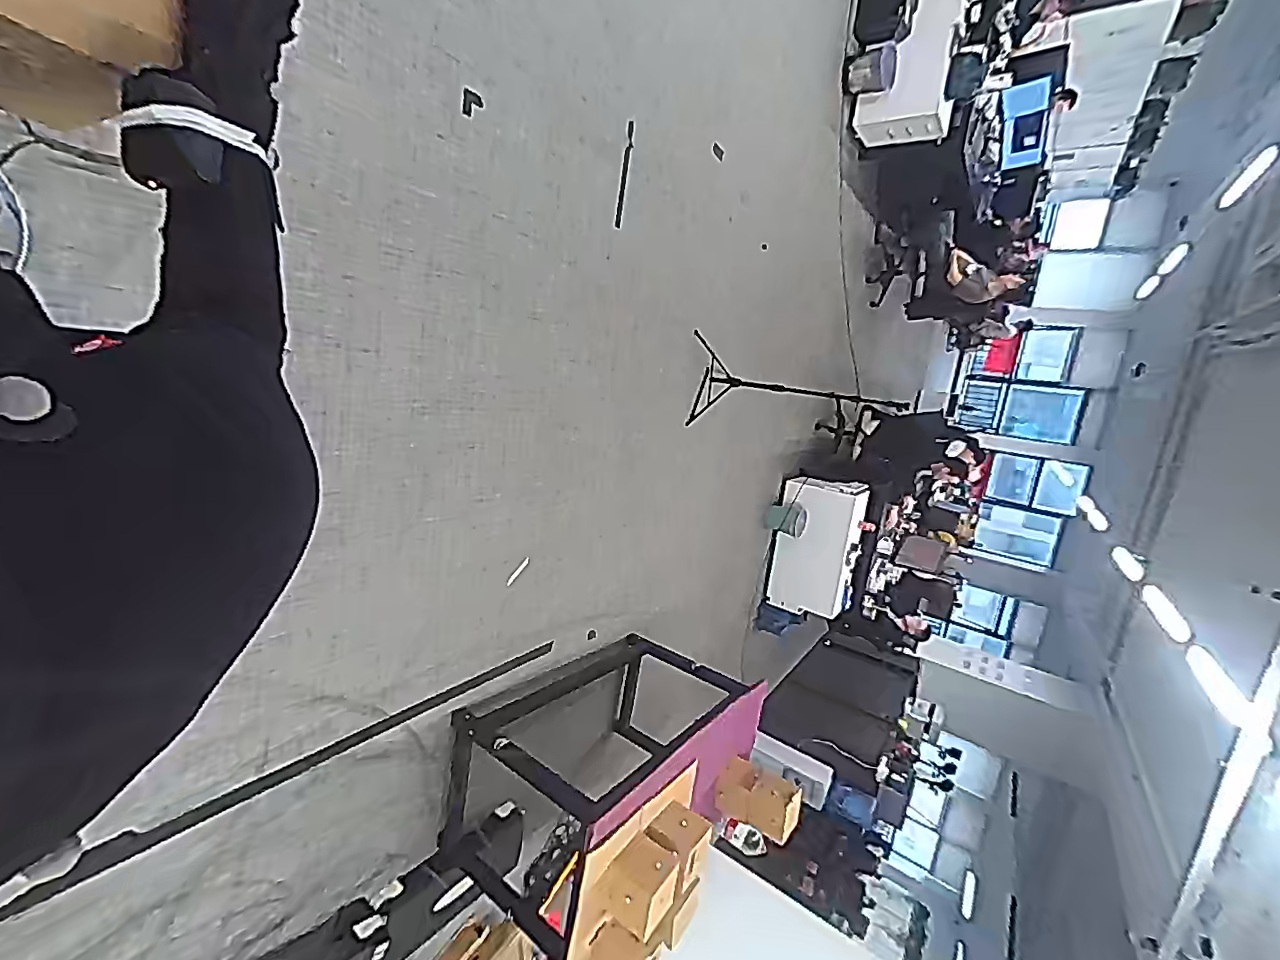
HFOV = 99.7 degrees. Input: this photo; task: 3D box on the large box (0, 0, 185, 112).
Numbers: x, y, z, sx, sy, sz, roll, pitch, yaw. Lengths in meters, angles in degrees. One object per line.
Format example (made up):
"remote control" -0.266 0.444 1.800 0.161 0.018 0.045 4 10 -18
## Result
"large box" -0.544 -0.477 0.290 0.408 0.320 0.320 -1 106 -59
